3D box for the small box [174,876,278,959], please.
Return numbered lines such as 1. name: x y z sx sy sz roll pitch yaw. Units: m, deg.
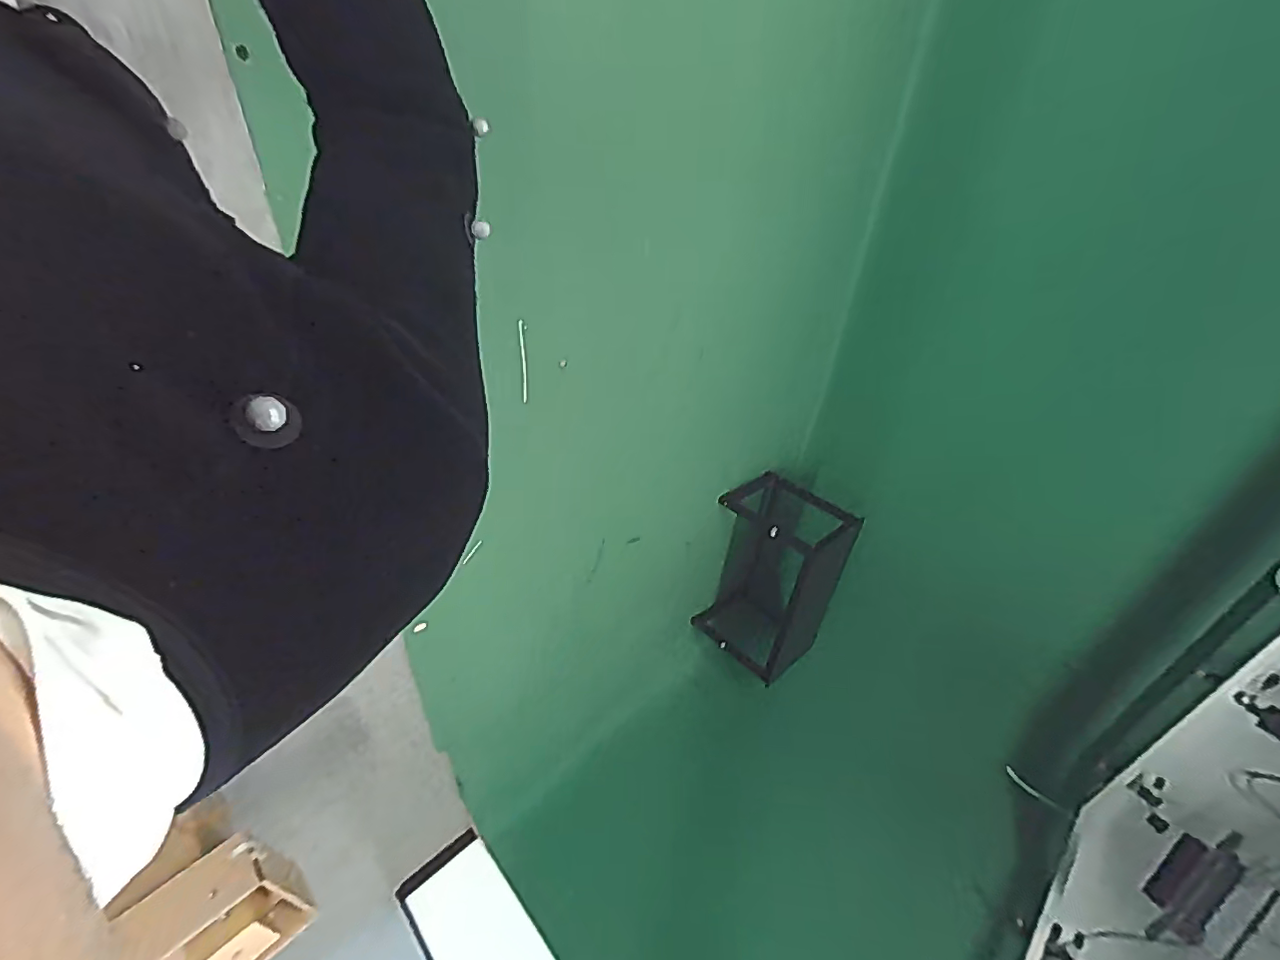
1. small box: -1.206 1.306 1.574 0.168 0.176 0.179 -33 140 -31
